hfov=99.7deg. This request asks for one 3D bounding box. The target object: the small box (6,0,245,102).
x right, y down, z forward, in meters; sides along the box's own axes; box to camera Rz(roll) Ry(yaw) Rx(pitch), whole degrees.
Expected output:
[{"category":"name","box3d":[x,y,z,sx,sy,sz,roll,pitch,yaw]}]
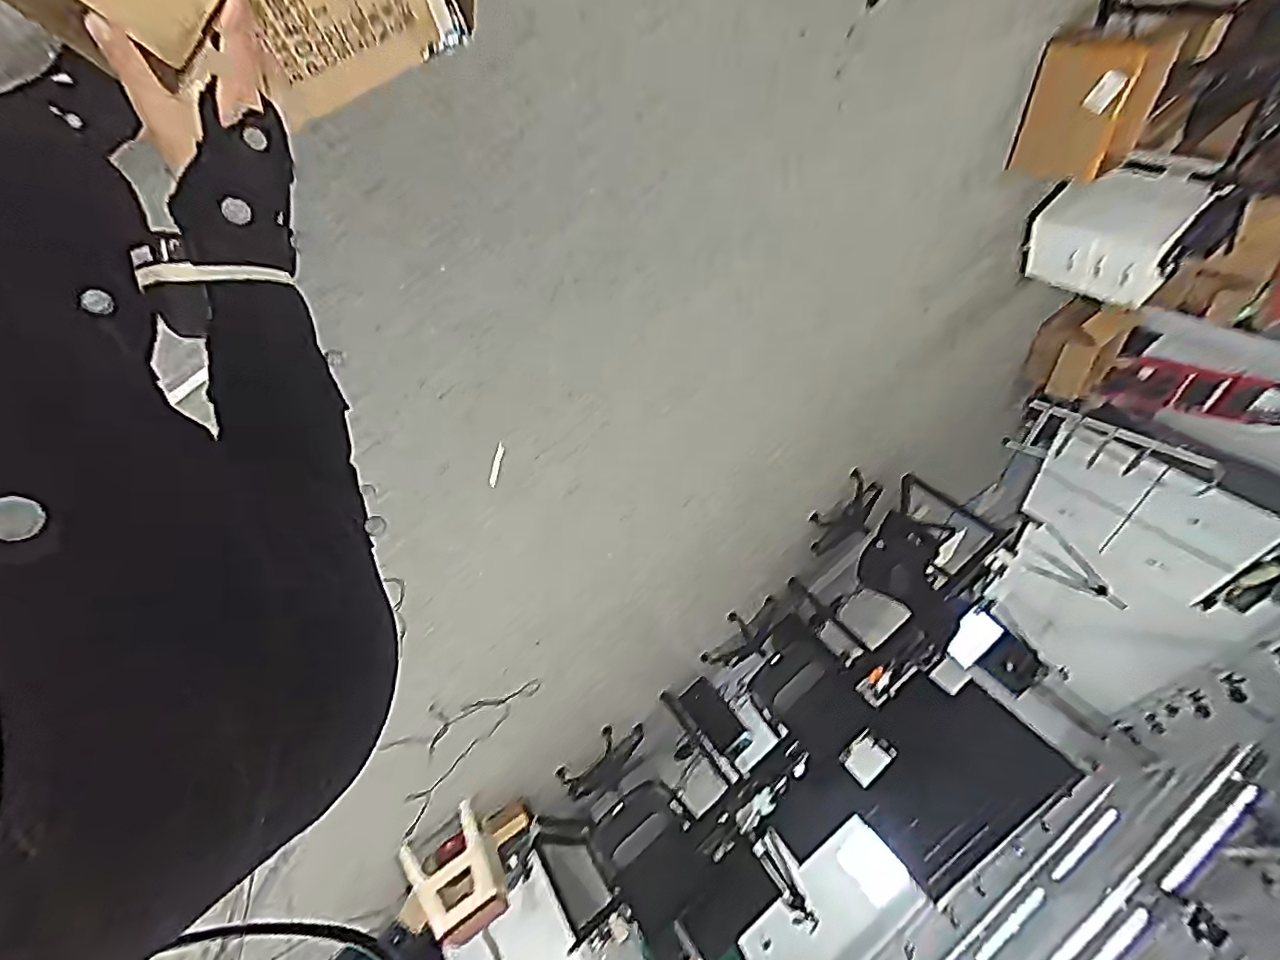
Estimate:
[{"category":"small box","box3d":[-0.360,-0.386,0.346,0.179,0.176,0.168,29,88,-46]}]
